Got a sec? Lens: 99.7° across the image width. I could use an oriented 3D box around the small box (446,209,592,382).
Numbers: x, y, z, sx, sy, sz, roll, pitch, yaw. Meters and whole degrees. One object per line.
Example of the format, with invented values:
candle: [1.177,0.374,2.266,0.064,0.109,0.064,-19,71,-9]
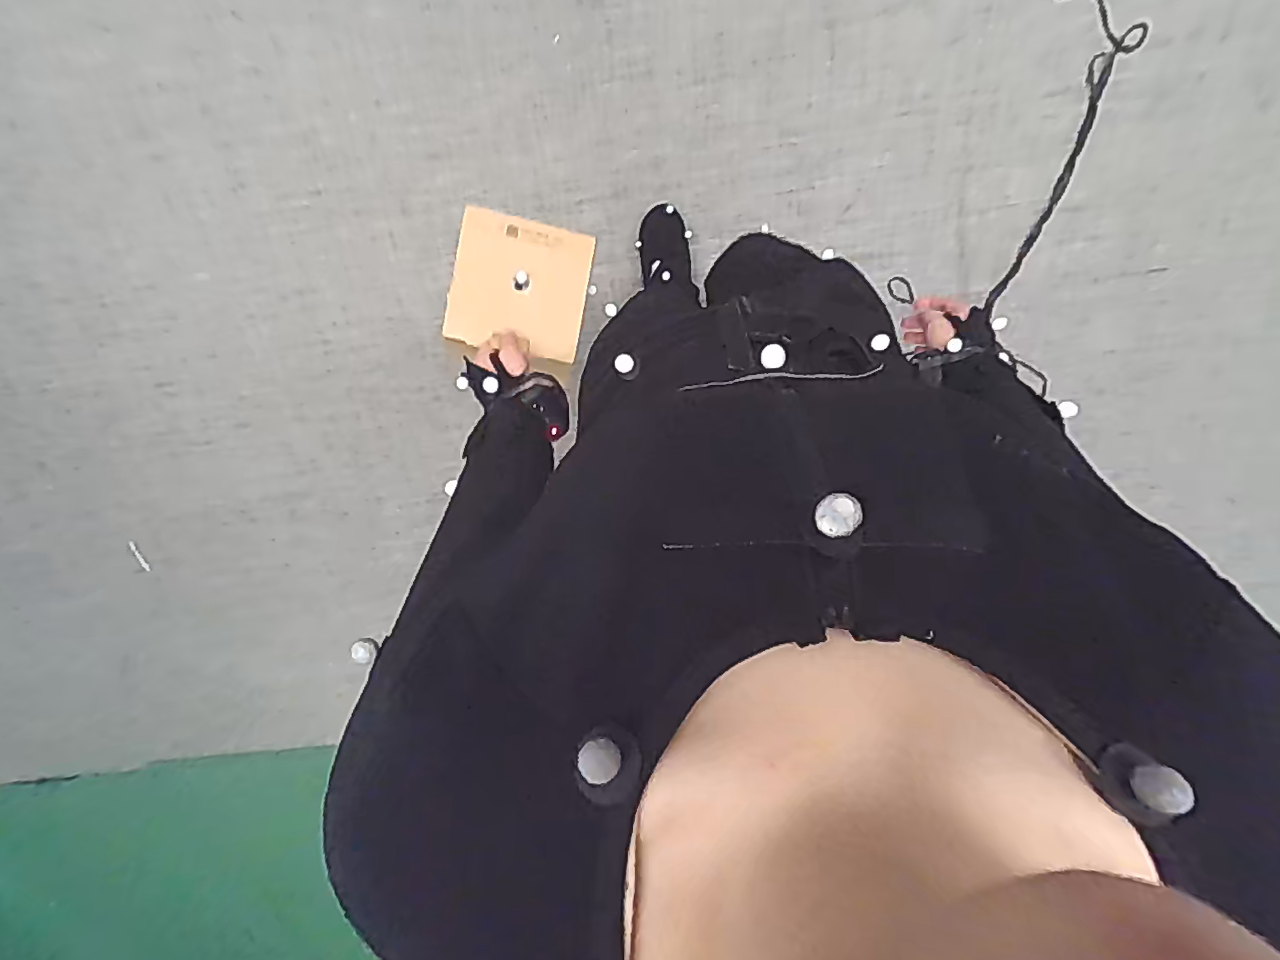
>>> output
small box: [-0.165,-0.246,0.754,0.168,0.179,0.176,9,89,-12]
